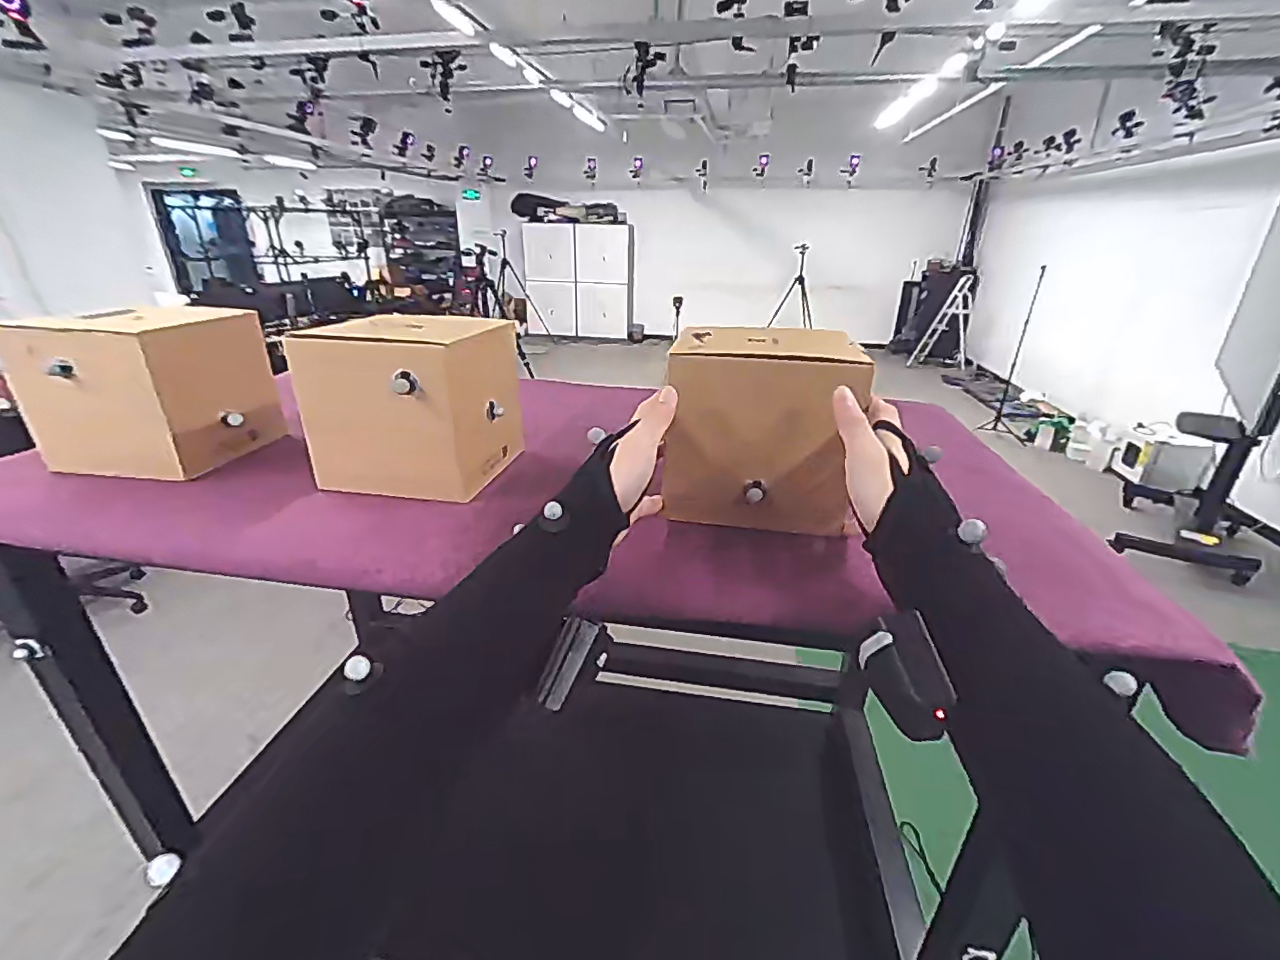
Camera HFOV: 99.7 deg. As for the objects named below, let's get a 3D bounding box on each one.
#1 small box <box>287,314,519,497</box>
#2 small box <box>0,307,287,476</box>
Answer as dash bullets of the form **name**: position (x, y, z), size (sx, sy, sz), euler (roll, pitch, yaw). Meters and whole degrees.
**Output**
- **small box**: position (-0.249, -0.091, 0.619), size (0.179, 0.176, 0.168), euler (5, 23, 9)
- **small box**: position (-0.578, -0.113, 0.657), size (0.179, 0.176, 0.168), euler (5, 24, 5)
